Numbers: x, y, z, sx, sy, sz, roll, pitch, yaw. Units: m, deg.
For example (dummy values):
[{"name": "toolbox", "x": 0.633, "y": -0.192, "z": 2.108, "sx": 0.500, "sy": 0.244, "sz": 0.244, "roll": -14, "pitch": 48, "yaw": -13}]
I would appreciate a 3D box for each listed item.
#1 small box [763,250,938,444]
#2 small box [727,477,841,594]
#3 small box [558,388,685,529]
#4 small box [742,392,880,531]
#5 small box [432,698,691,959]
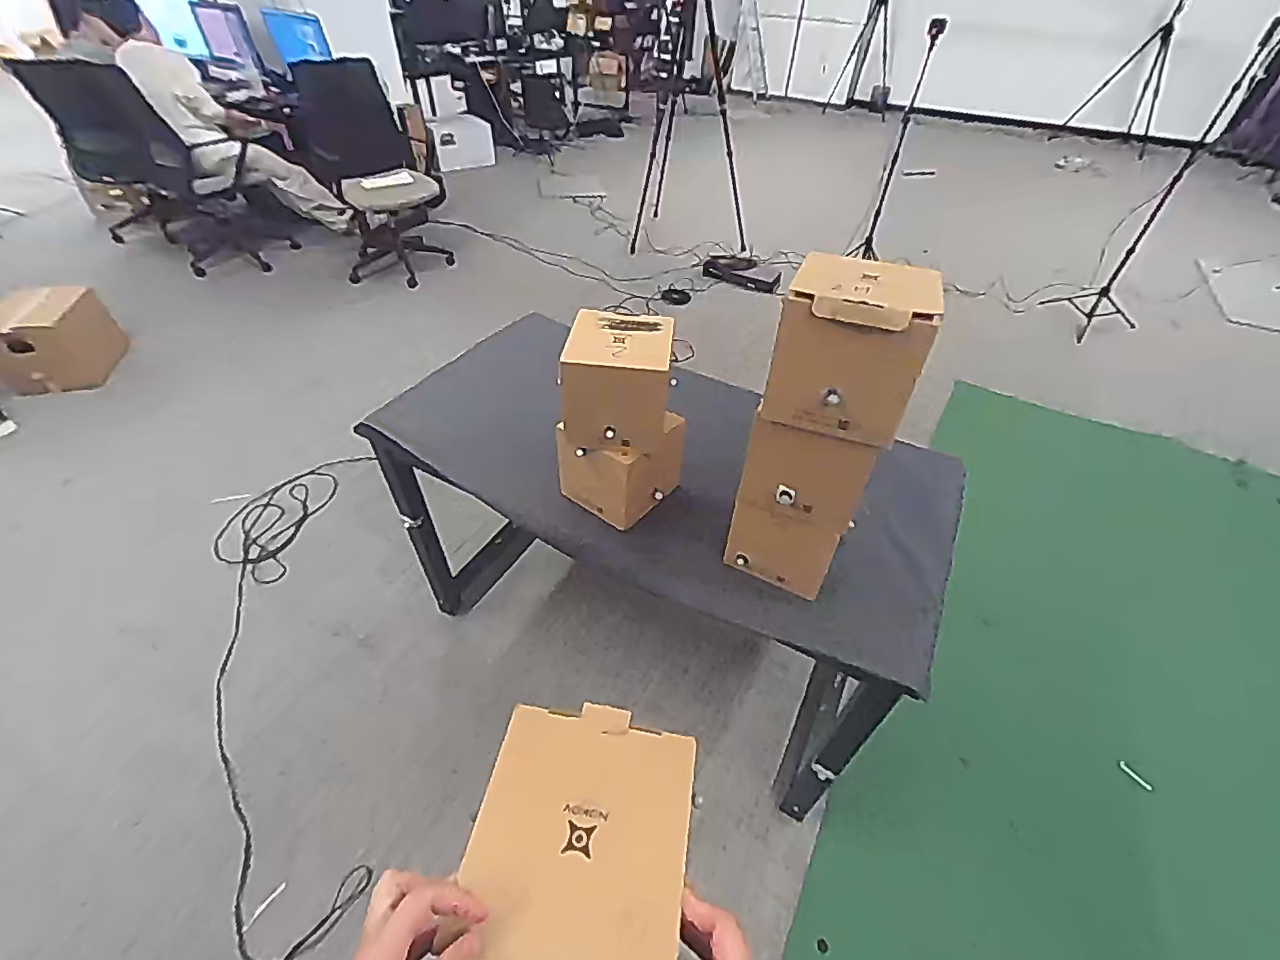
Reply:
[{"name": "small box", "x": 0.266, "y": -0.175, "z": 0.697, "sx": 0.168, "sy": 0.176, "sz": 0.179, "roll": 16, "pitch": 43, "yaw": 17}, {"name": "small box", "x": 0.258, "y": 0.062, "z": 0.924, "sx": 0.168, "sy": 0.176, "sz": 0.179, "roll": 22, "pitch": 44, "yaw": 20}, {"name": "small box", "x": -0.038, "y": -0.043, "z": 1.024, "sx": 0.168, "sy": 0.176, "sz": 0.179, "roll": 29, "pitch": 48, "yaw": 26}, {"name": "small box", "x": 0.262, "y": -0.057, "z": 0.814, "sx": 0.168, "sy": 0.176, "sz": 0.179, "roll": 18, "pitch": 45, "yaw": 18}, {"name": "small box", "x": -0.051, "y": 0.324, "z": 0.472, "sx": 0.168, "sy": 0.176, "sz": 0.179, "roll": 8, "pitch": 42, "yaw": 4}]
